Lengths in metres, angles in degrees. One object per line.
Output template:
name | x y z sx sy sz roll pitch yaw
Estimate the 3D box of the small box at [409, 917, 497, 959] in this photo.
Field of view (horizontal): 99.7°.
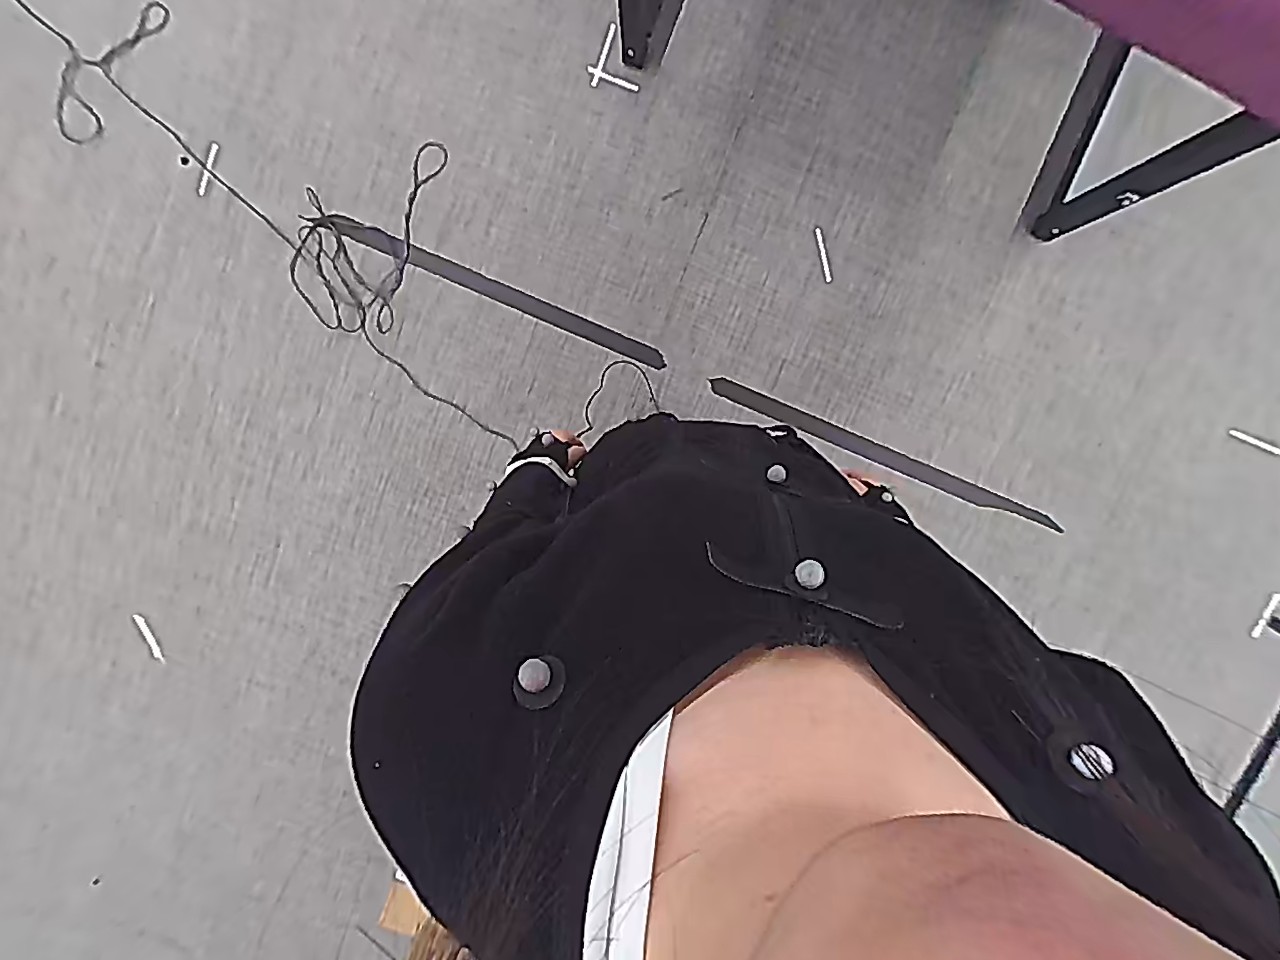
small box | -0.404 1.041 1.086 0.168 0.176 0.179 19 97 0
